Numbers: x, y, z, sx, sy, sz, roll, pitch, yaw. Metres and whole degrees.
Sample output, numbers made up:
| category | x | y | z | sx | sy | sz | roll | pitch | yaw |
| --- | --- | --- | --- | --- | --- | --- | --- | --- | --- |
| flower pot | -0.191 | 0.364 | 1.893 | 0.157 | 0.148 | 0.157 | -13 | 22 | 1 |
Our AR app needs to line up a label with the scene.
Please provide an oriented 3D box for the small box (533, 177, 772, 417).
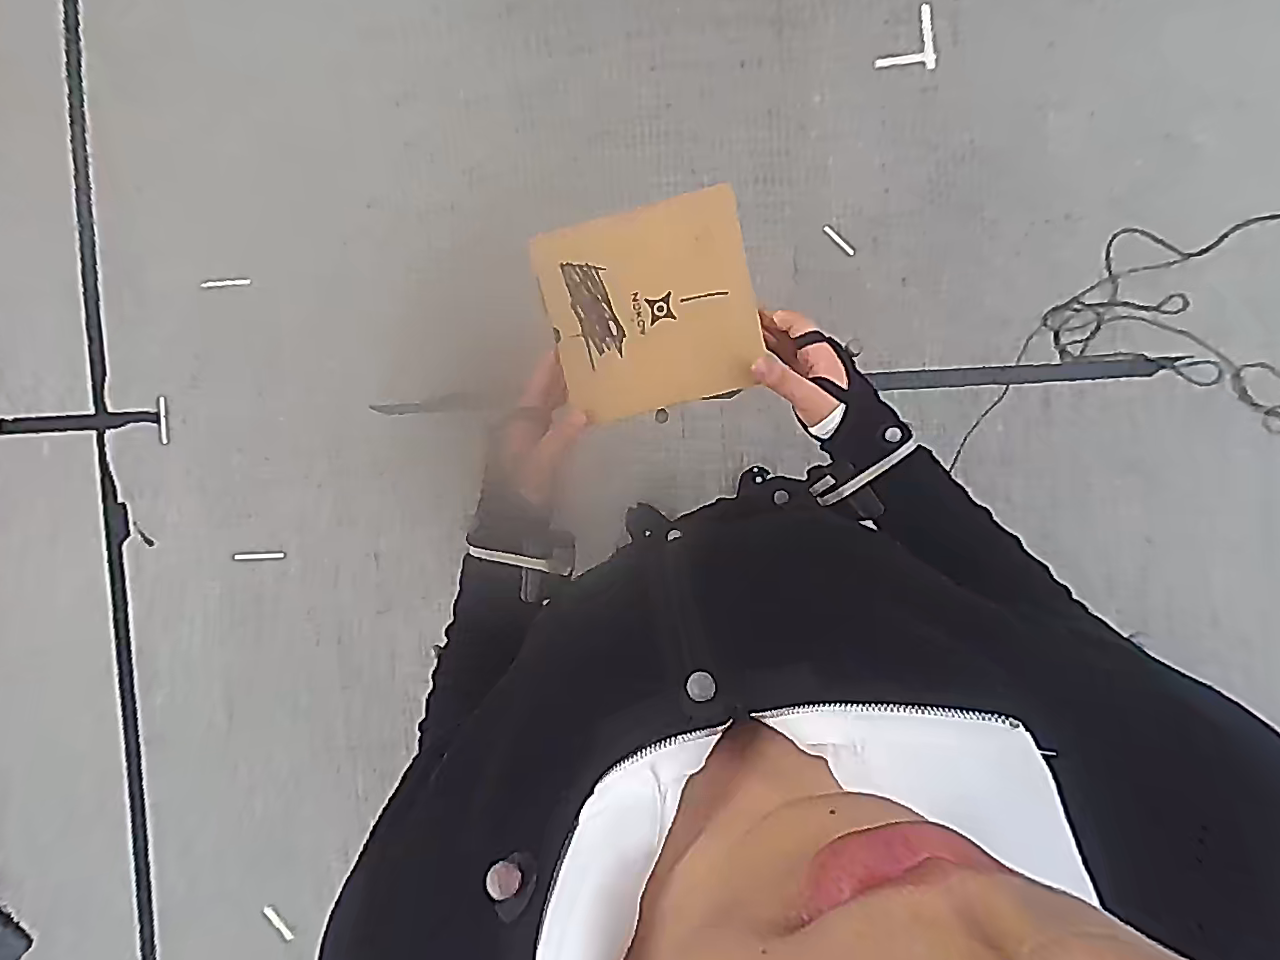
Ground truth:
| category | x | y | z | sx | sy | sz | roll | pitch | yaw |
| --- | --- | --- | --- | --- | --- | --- | --- | --- | --- |
| small box | 0.015 | -0.161 | 0.533 | 0.179 | 0.176 | 0.168 | -13 | 98 | 4 |
